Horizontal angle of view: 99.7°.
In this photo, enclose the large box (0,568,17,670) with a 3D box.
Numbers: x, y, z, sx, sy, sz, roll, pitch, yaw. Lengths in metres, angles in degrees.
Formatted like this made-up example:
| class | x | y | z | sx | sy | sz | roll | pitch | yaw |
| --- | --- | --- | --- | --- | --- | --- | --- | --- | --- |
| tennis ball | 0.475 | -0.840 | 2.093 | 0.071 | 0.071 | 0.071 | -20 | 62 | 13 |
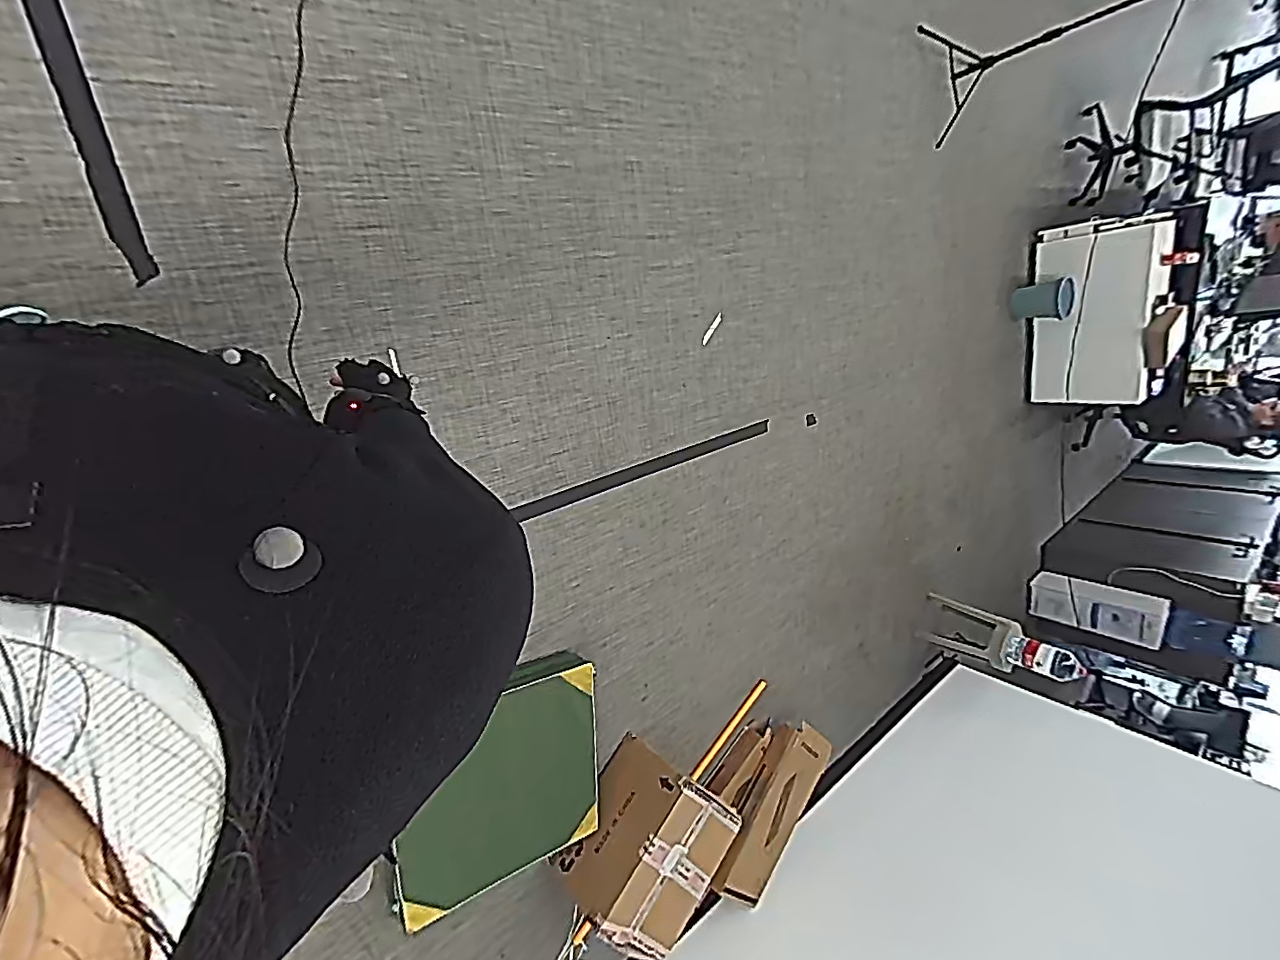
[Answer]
| class | x | y | z | sx | sy | sz | roll | pitch | yaw |
| --- | --- | --- | --- | --- | --- | --- | --- | --- | --- |
| large box | -0.927 | 0.033 | 0.534 | 0.320 | 0.408 | 0.320 | -19 | 149 | -39 |
